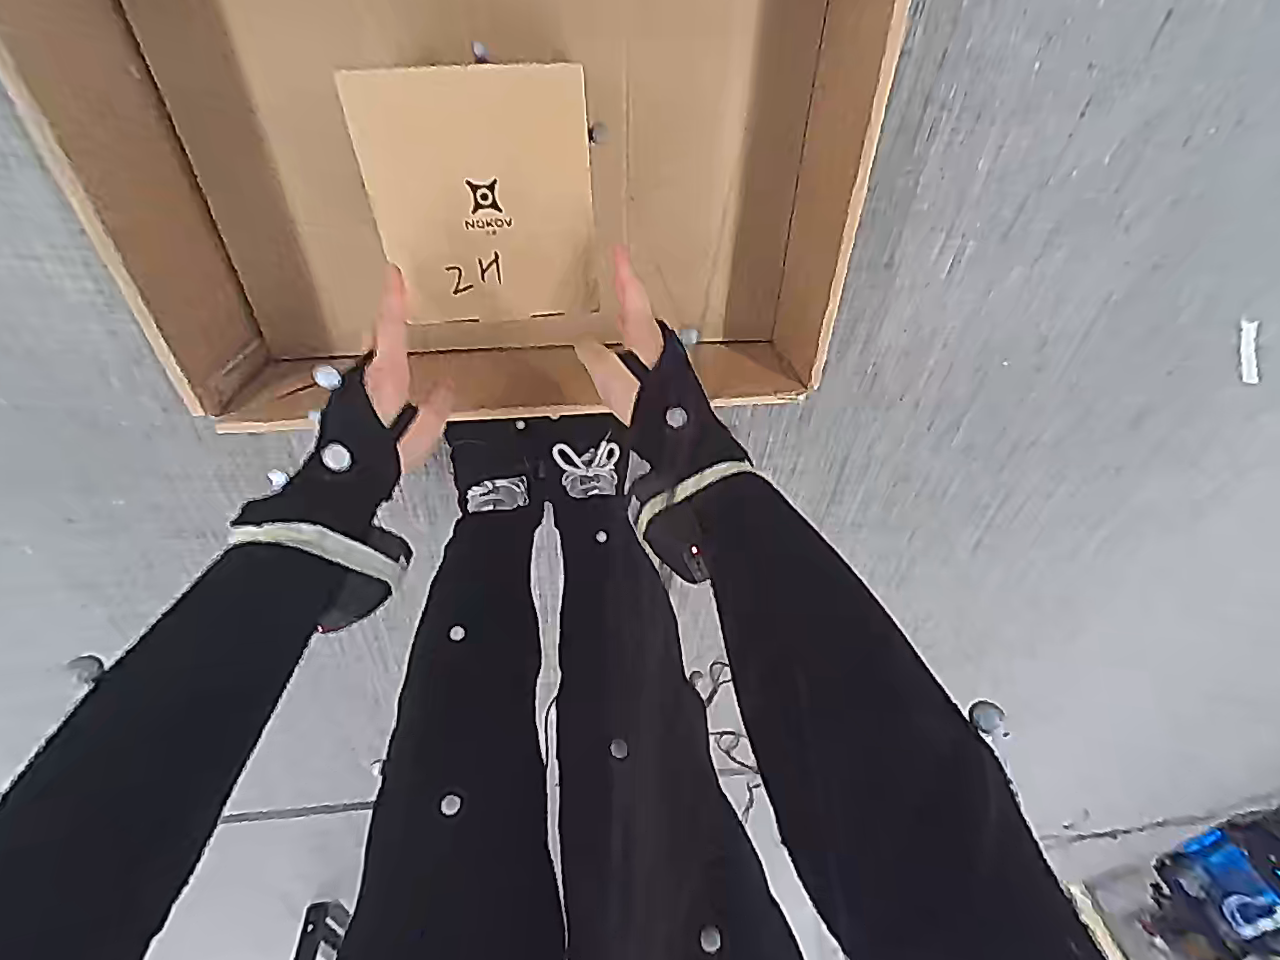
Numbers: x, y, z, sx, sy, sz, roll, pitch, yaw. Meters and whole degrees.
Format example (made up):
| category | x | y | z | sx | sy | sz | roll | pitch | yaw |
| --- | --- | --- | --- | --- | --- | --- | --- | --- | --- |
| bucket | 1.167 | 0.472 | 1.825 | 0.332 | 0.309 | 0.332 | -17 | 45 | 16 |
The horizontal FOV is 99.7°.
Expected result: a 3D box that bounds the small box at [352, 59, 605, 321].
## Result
| category | x | y | z | sx | sy | sz | roll | pitch | yaw |
| --- | --- | --- | --- | --- | --- | --- | --- | --- | --- |
| small box | -0.122 | -0.258 | 0.477 | 0.168 | 0.176 | 0.179 | -5 | 128 | -5 |
